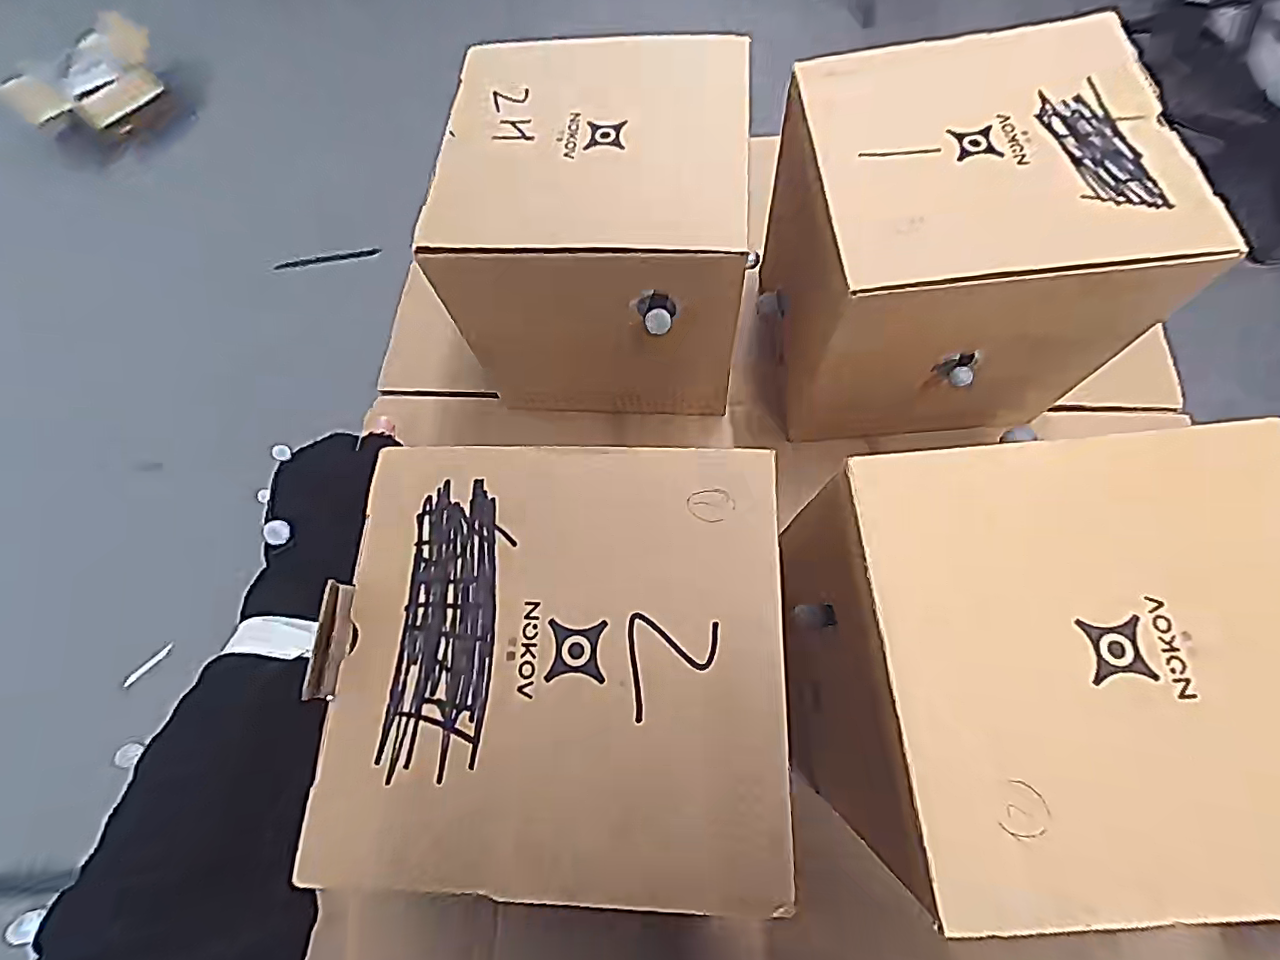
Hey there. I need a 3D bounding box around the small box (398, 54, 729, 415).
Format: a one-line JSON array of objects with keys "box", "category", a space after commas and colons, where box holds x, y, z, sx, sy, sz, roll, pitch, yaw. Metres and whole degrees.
[{"box": [-0.032, -0.157, 0.383, 0.179, 0.176, 0.168, 2, 68, 6], "category": "small box"}]
